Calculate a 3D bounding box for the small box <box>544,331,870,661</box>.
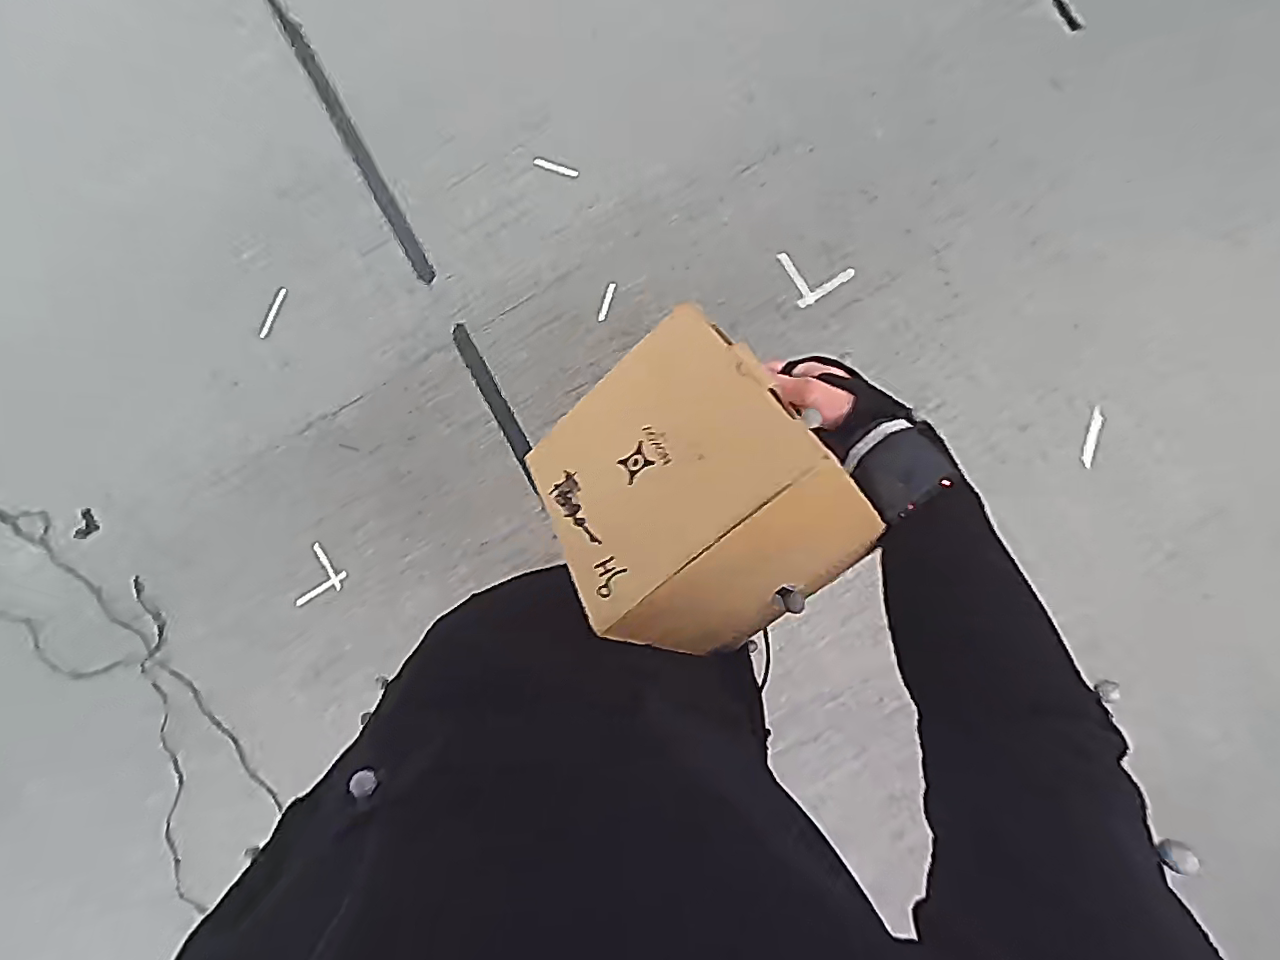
[{"bbox_3d":[0.060,0.025,0.435,0.179,0.176,0.168,-41,51,14],"label":"small box"}]
